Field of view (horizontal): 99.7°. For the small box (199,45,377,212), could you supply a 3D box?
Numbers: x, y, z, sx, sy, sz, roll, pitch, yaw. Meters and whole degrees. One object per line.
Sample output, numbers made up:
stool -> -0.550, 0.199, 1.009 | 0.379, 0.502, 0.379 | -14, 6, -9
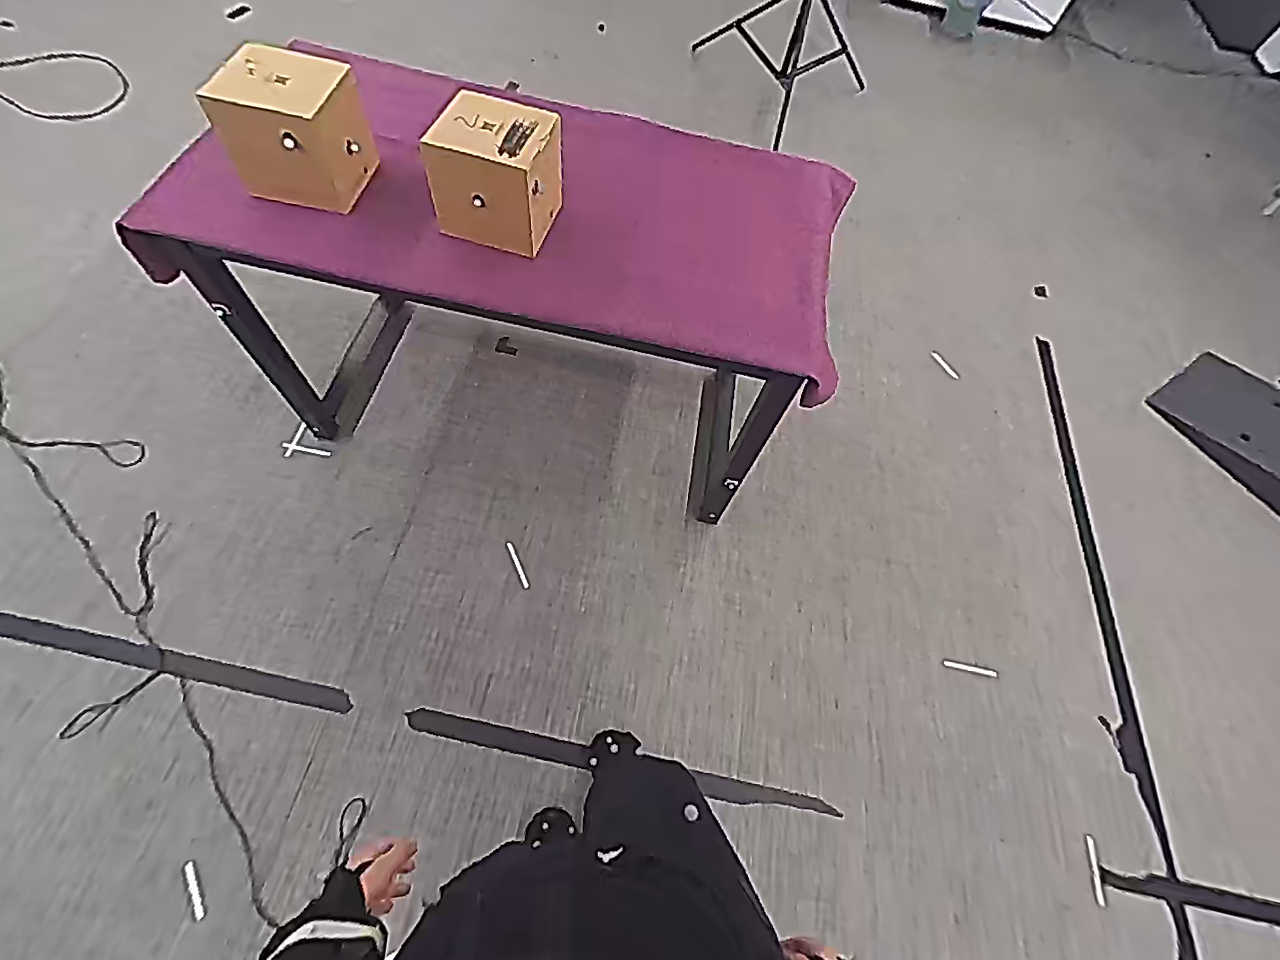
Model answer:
small box -> -0.582, -0.594, 0.928 | 0.179, 0.176, 0.168 | 10, 61, -2
